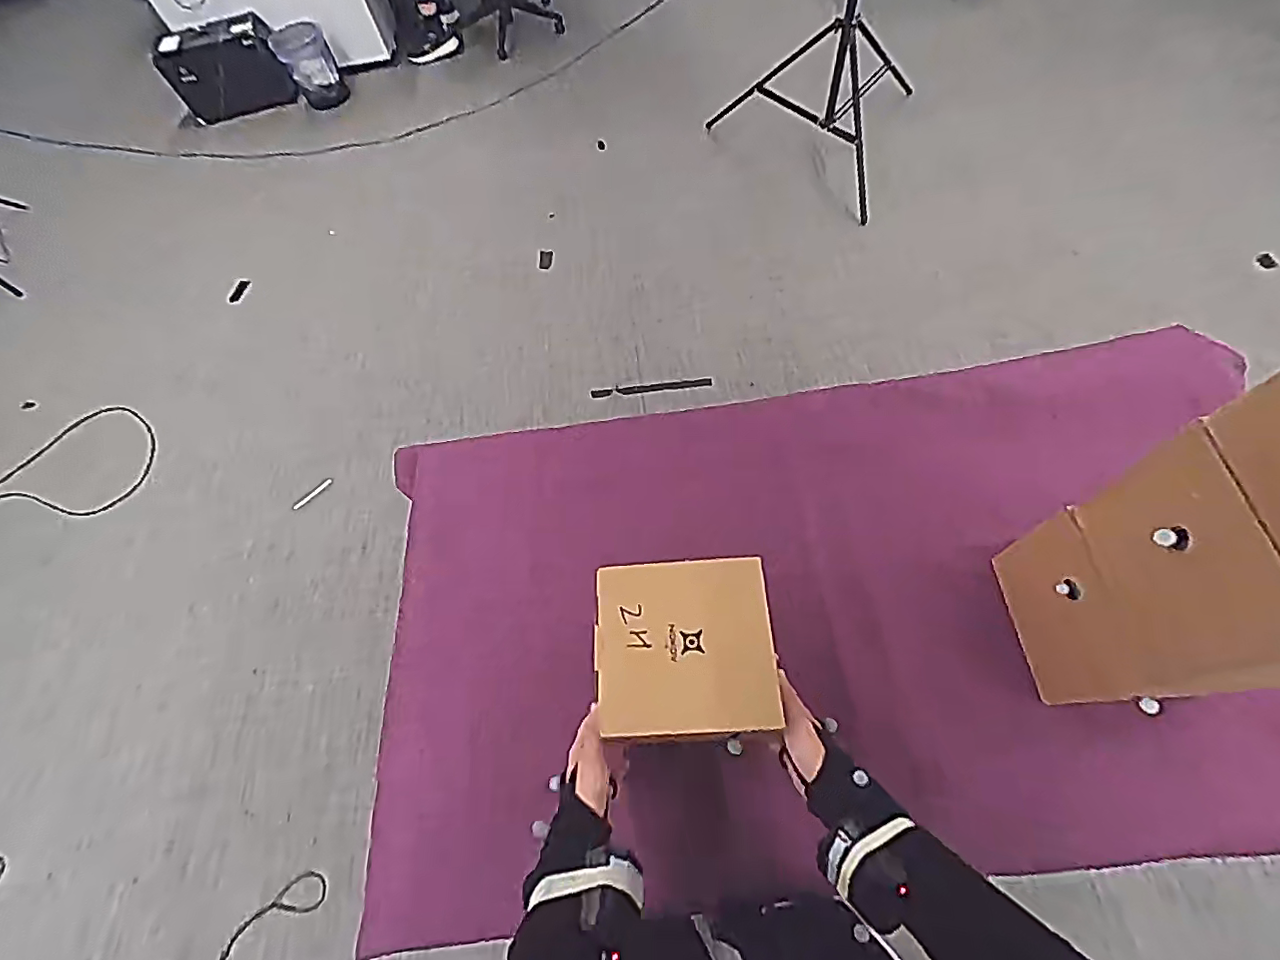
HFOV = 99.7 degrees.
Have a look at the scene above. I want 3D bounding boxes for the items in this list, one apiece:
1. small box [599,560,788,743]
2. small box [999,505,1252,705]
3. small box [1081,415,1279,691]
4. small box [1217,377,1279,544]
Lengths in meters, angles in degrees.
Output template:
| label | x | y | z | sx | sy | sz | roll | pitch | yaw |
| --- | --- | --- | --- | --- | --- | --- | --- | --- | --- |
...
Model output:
| label | x | y | z | sx | sy | sz | roll | pitch | yaw |
| --- | --- | --- | --- | --- | --- | --- | --- | --- | --- |
| small box | 0.053 | 0.197 | 0.601 | 0.179 | 0.176 | 0.168 | -5 | 61 | 5 |
| small box | 0.525 | 0.134 | 0.576 | 0.168 | 0.176 | 0.179 | -5 | 62 | 5 |
| small box | 0.508 | 0.063 | 0.430 | 0.168 | 0.176 | 0.179 | -3 | 61 | 6 |
| small box | 0.491 | -0.007 | 0.283 | 0.168 | 0.176 | 0.179 | -4 | 62 | 6 |
